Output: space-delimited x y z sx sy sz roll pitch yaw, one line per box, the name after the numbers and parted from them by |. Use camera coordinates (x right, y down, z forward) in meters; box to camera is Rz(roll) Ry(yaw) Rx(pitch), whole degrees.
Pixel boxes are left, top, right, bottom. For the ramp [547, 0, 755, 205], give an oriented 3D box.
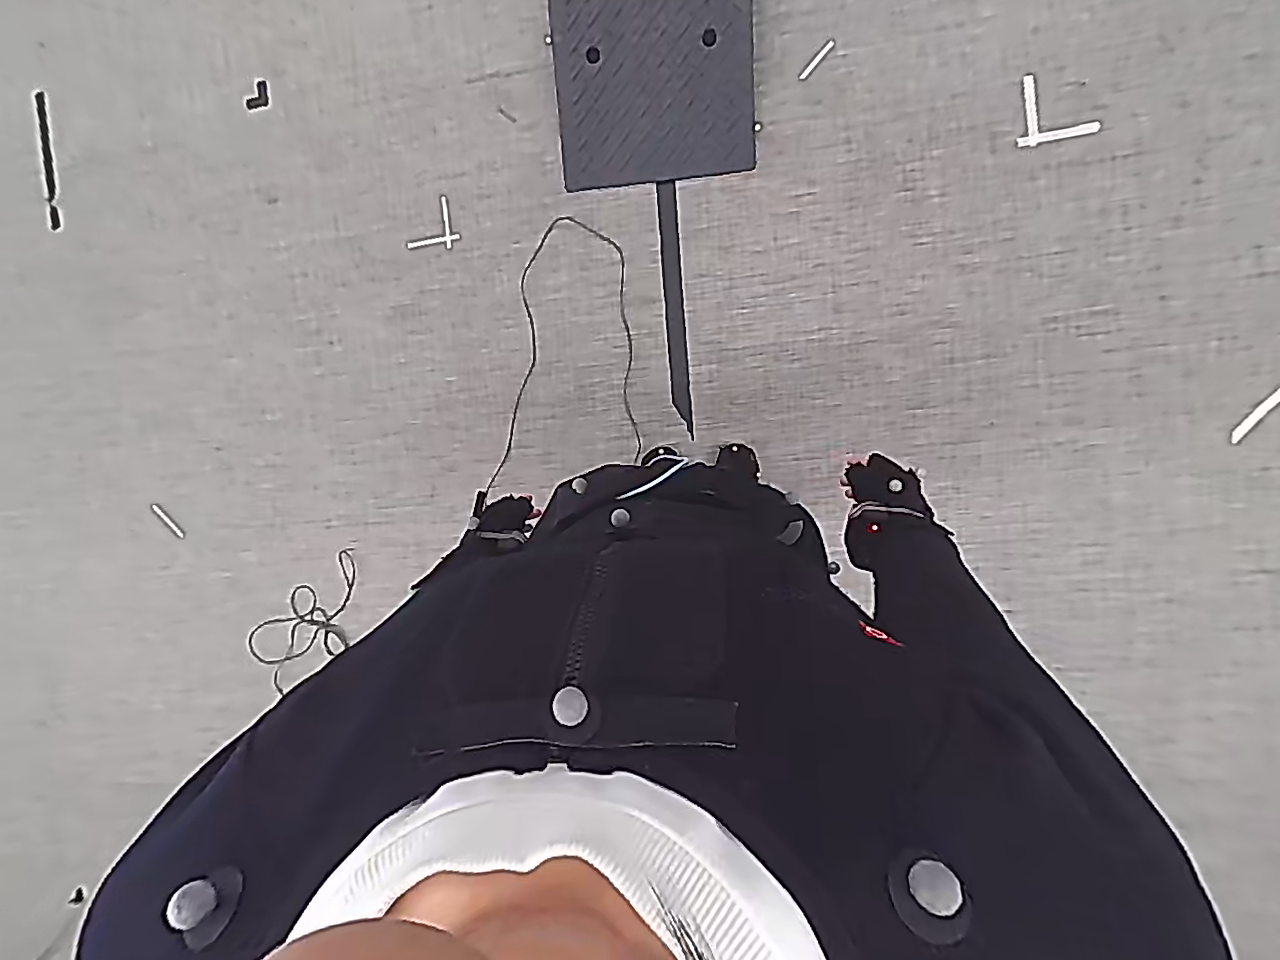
0.009 -1.234 1.302 0.509 0.206 0.991 -5 93 8 | ramp
